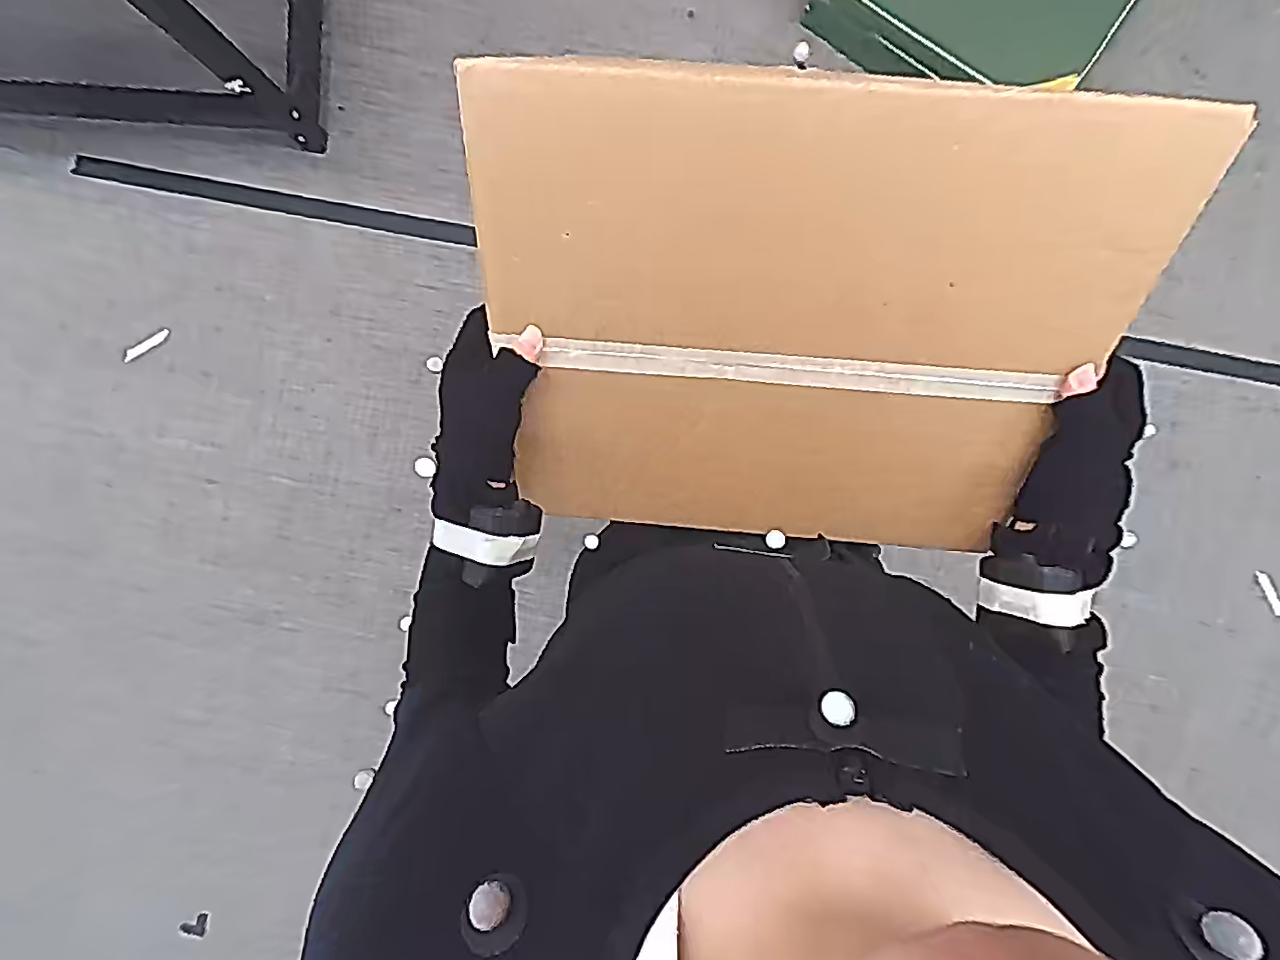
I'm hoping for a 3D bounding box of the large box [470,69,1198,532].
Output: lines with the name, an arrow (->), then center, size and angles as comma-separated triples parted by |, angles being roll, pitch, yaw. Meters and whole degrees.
large box -> 0.109, -0.178, 0.502 | 0.408, 0.320, 0.320 | 5, 128, 2
